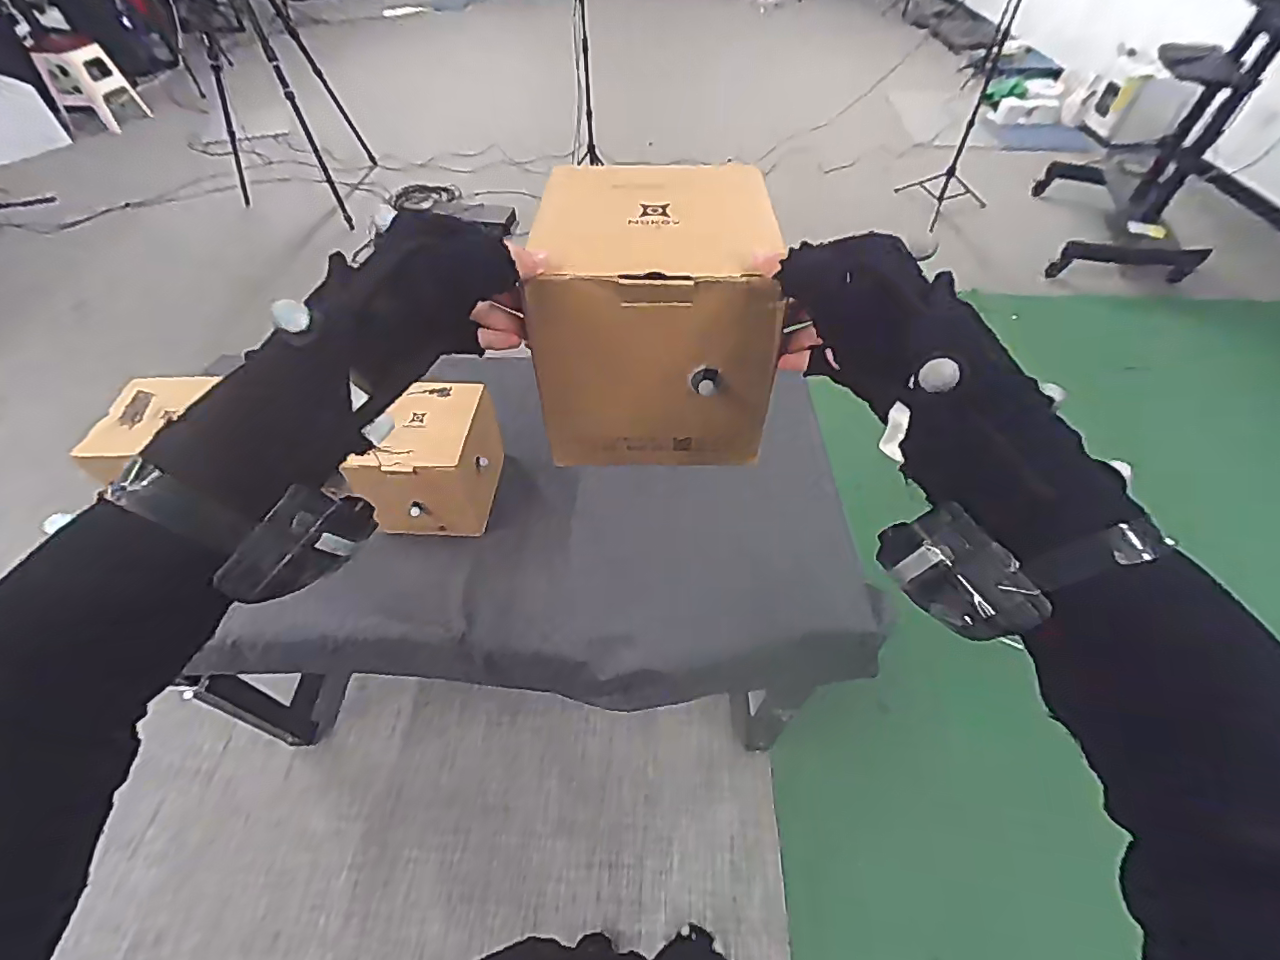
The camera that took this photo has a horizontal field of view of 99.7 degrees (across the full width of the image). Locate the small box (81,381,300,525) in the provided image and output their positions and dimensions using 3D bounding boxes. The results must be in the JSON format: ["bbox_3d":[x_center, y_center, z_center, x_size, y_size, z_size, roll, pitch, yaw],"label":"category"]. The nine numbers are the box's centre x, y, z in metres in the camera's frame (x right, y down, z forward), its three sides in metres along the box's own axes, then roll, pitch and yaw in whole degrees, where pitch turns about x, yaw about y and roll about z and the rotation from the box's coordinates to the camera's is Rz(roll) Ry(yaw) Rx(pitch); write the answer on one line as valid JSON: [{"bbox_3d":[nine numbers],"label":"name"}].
[{"bbox_3d":[-0.691,-0.039,0.861,0.179,0.176,0.168,-1,51,-2],"label":"small box"}]

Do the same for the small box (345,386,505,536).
[{"bbox_3d":[-0.321,-0.027,0.852,0.168,0.176,0.179,2,51,2],"label":"small box"}]

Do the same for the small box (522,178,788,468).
[{"bbox_3d":[0.011,-0.124,0.438,0.168,0.176,0.179,1,47,0],"label":"small box"}]
